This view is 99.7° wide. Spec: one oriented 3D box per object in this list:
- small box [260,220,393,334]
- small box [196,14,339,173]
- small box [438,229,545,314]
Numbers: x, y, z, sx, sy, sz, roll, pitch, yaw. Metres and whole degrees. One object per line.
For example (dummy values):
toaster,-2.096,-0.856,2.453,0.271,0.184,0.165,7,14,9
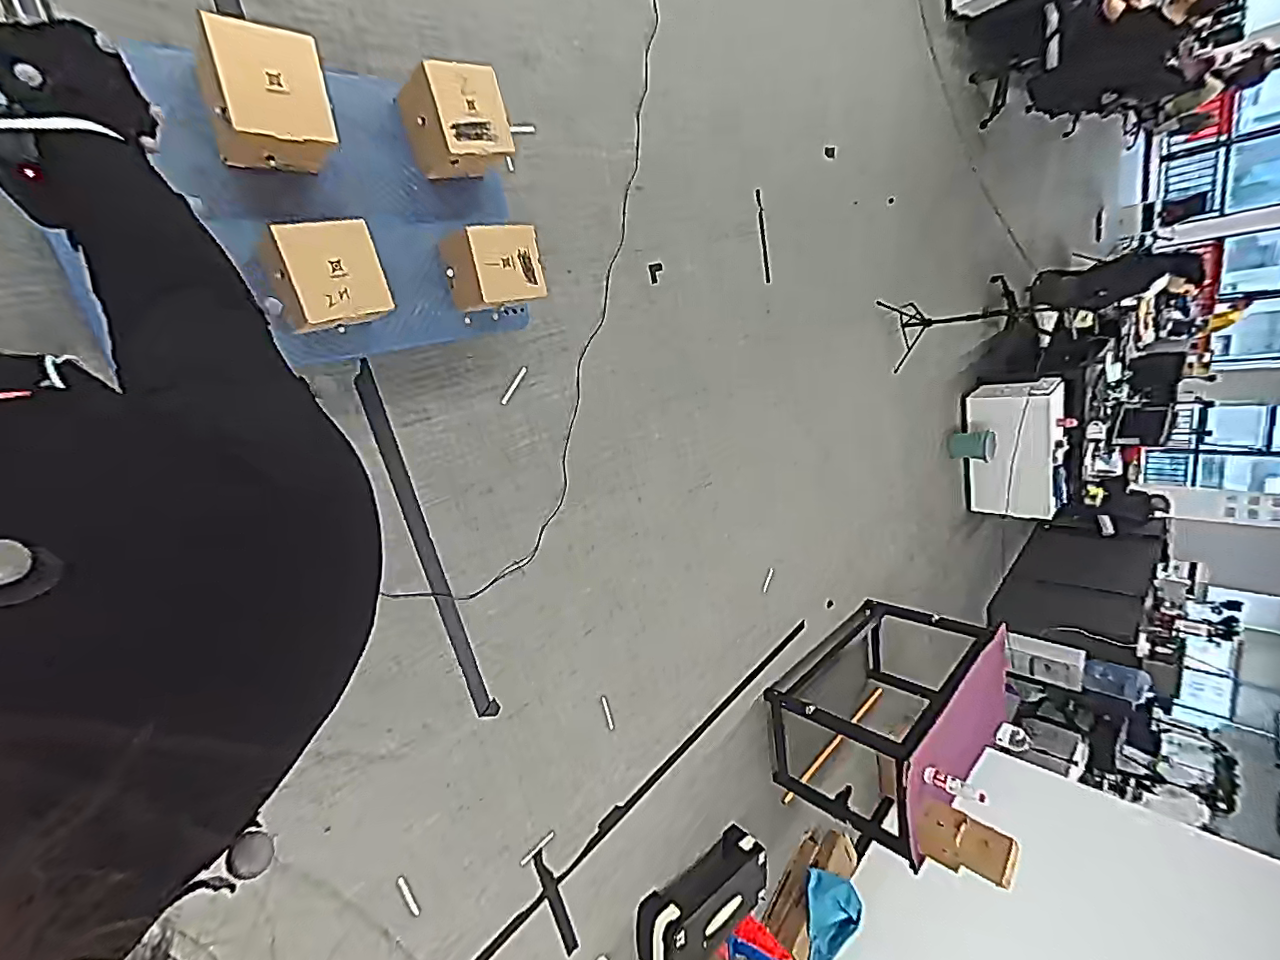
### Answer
small box,-0.632,-0.404,1.086,0.168,0.176,0.179,-26,112,-37
small box,-0.690,-0.697,0.999,0.168,0.176,0.179,-20,110,-40
small box,-0.362,-0.508,1.321,0.179,0.176,0.168,-22,109,-38
